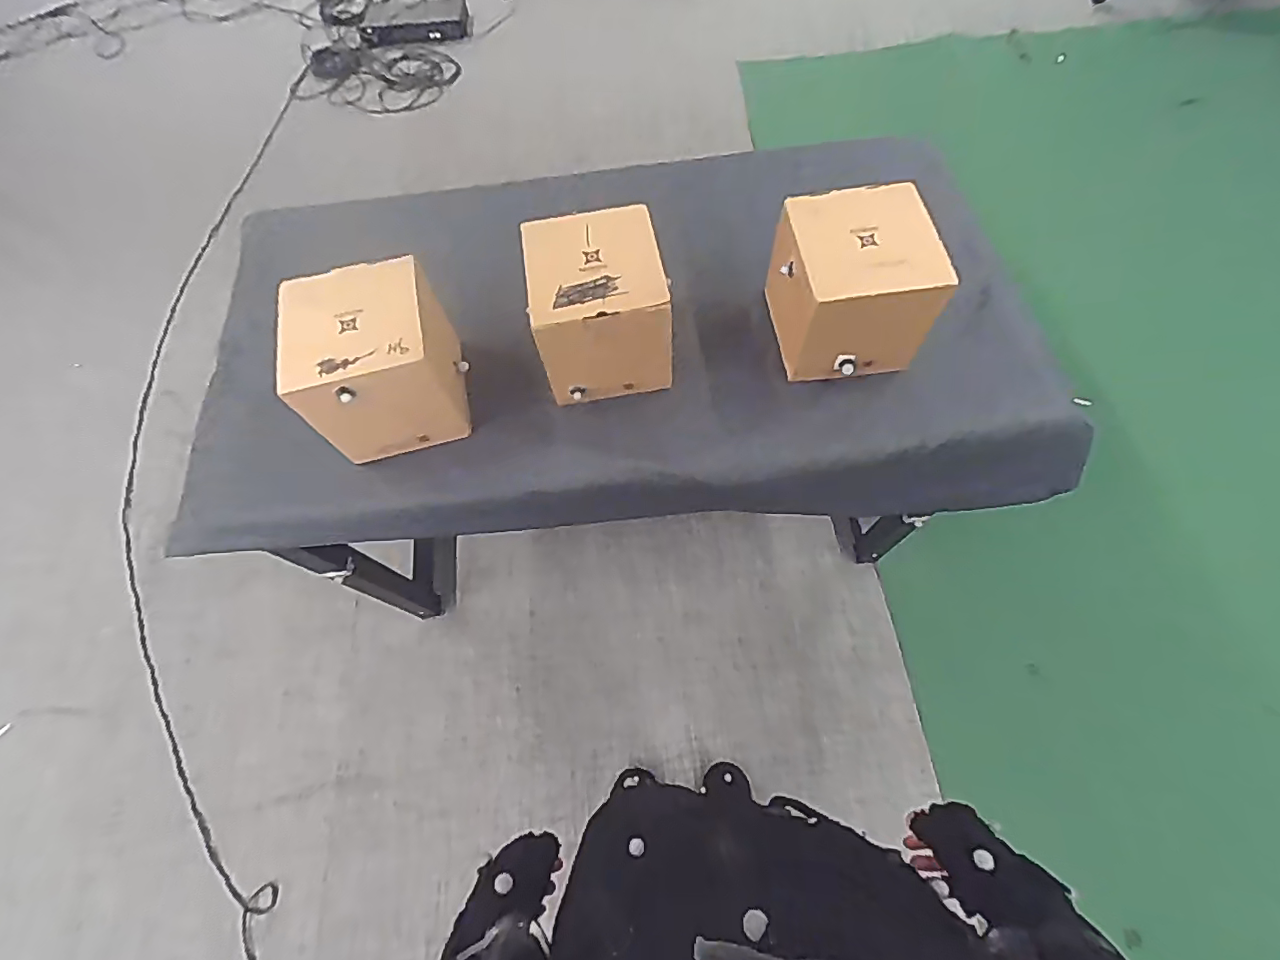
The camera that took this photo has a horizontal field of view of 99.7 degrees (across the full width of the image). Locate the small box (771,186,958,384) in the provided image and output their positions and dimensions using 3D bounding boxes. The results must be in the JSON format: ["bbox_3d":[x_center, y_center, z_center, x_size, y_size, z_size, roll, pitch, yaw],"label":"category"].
[{"bbox_3d":[0.282,-0.254,0.727,0.168,0.176,0.179,-8,66,2],"label":"small box"}]

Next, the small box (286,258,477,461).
[{"bbox_3d":[-0.328,-0.152,0.713,0.168,0.176,0.179,-15,63,-2],"label":"small box"}]

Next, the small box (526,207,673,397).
[{"bbox_3d":[-0.049,-0.229,0.734,0.168,0.176,0.179,-10,64,-1],"label":"small box"}]
